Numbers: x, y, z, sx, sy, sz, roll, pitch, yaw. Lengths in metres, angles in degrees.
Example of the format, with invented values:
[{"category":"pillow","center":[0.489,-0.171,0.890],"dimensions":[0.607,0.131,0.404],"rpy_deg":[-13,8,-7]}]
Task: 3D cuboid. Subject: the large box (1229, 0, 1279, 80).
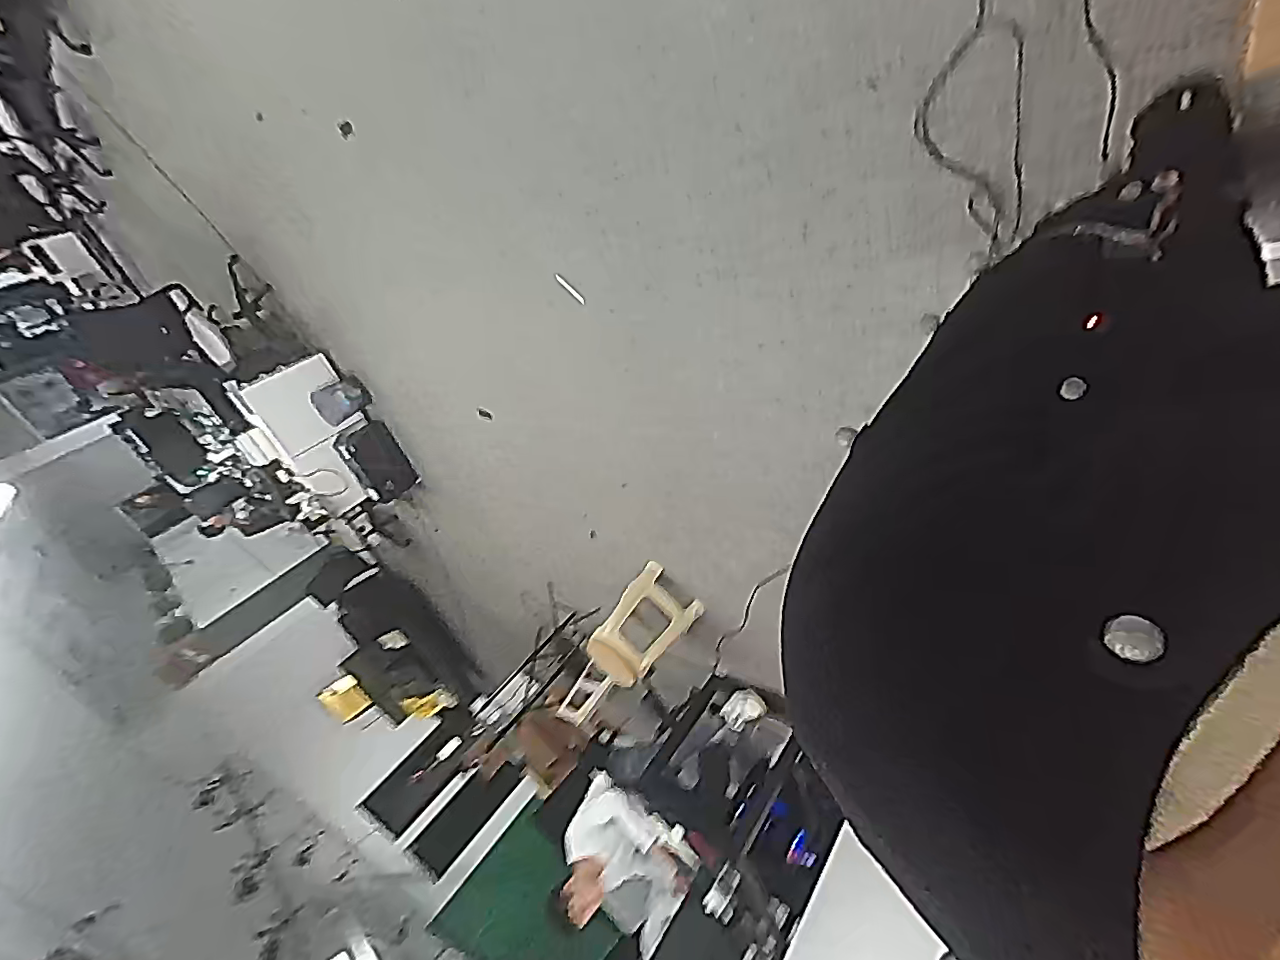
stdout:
[{"category":"large box","center":[0.839,-0.632,0.480],"dimensions":[0.408,0.320,0.320],"rpy_deg":[6,129,43]}]
